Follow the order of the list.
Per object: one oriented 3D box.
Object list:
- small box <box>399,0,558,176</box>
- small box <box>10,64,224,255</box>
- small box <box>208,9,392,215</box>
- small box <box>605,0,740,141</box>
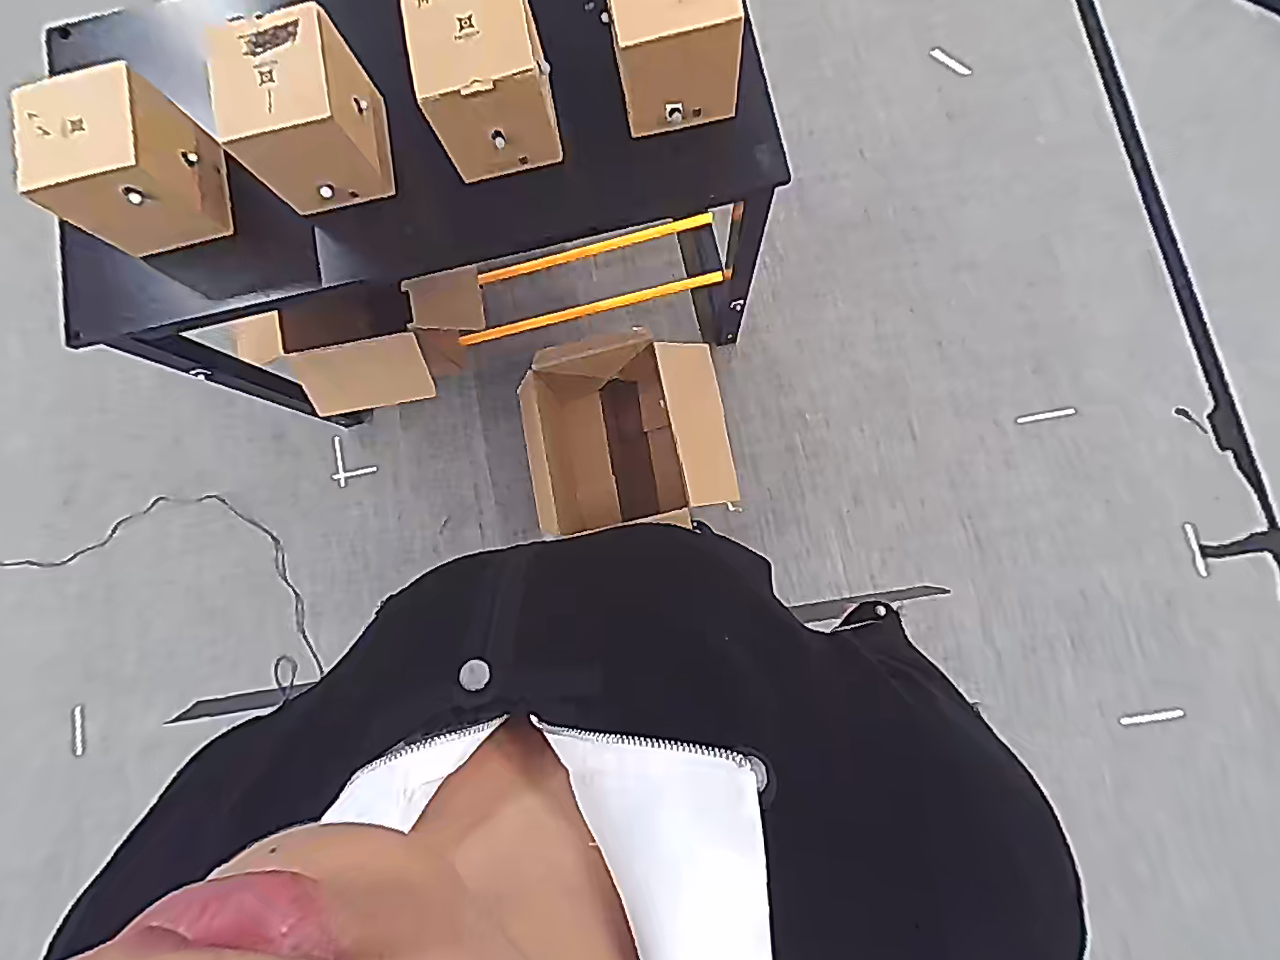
[{"bbox_3d":[-0.229,-0.585,0.802,0.168,0.176,0.179,-11,83,3],"label":"small box"},{"bbox_3d":[-0.778,-0.475,0.825,0.179,0.176,0.168,-12,82,2],"label":"small box"},{"bbox_3d":[-0.501,-0.540,0.815,0.168,0.176,0.179,-11,83,3],"label":"small box"},{"bbox_3d":[0.042,-0.646,0.789,0.168,0.176,0.179,-11,83,4],"label":"small box"}]
